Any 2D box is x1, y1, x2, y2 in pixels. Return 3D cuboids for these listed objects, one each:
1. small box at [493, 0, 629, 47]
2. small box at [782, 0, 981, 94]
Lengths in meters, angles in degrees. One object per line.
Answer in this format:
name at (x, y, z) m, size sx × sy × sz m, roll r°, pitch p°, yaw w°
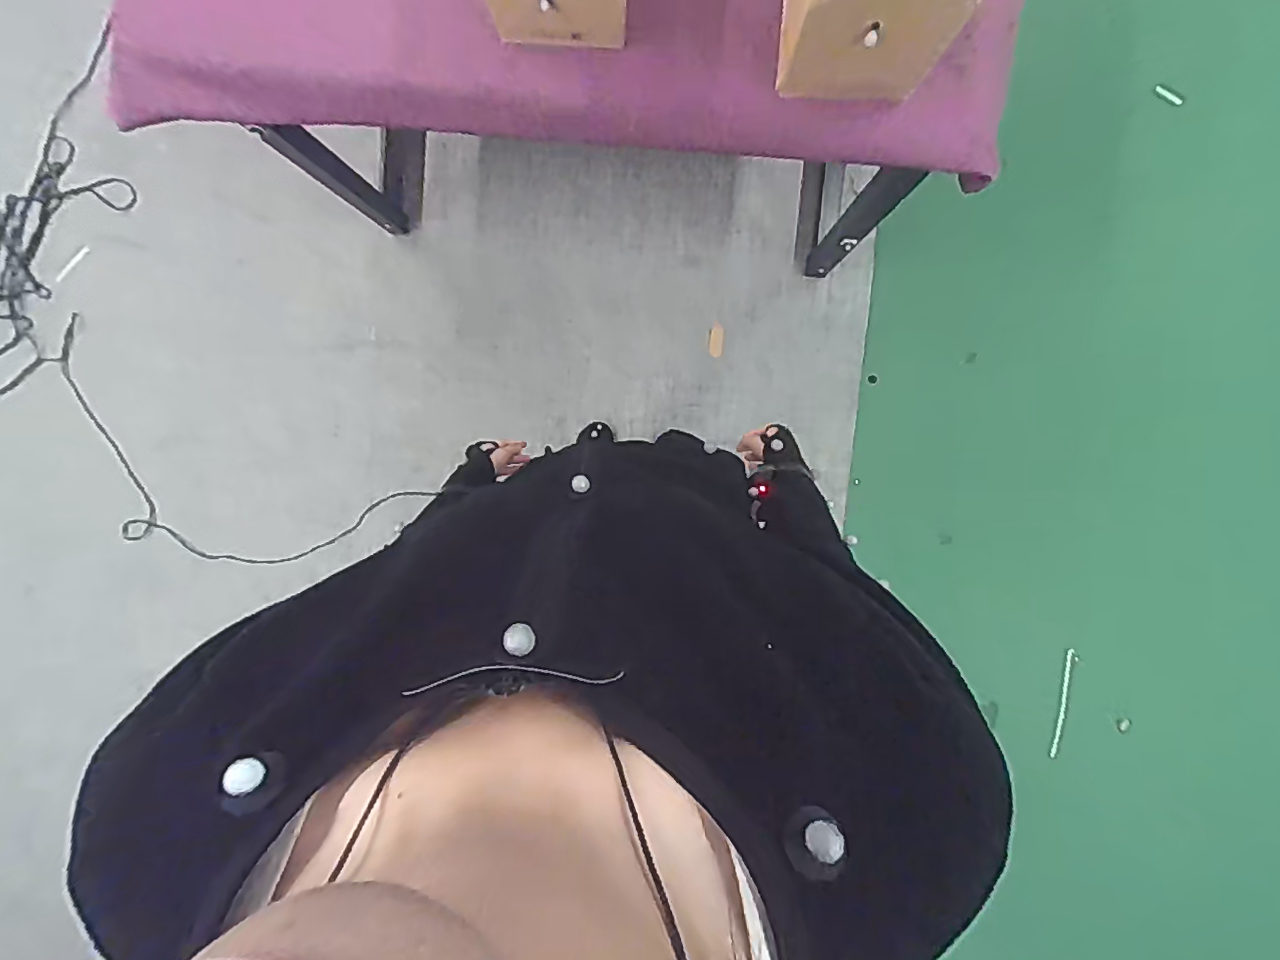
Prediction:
small box at (-0.097, -0.663, 0.642) m, size 0.168 × 0.176 × 0.179 m, roll 5°, pitch 94°, yaw 2°
small box at (0.275, -0.584, 0.628) m, size 0.179 × 0.176 × 0.168 m, roll 4°, pitch 96°, yaw 4°
